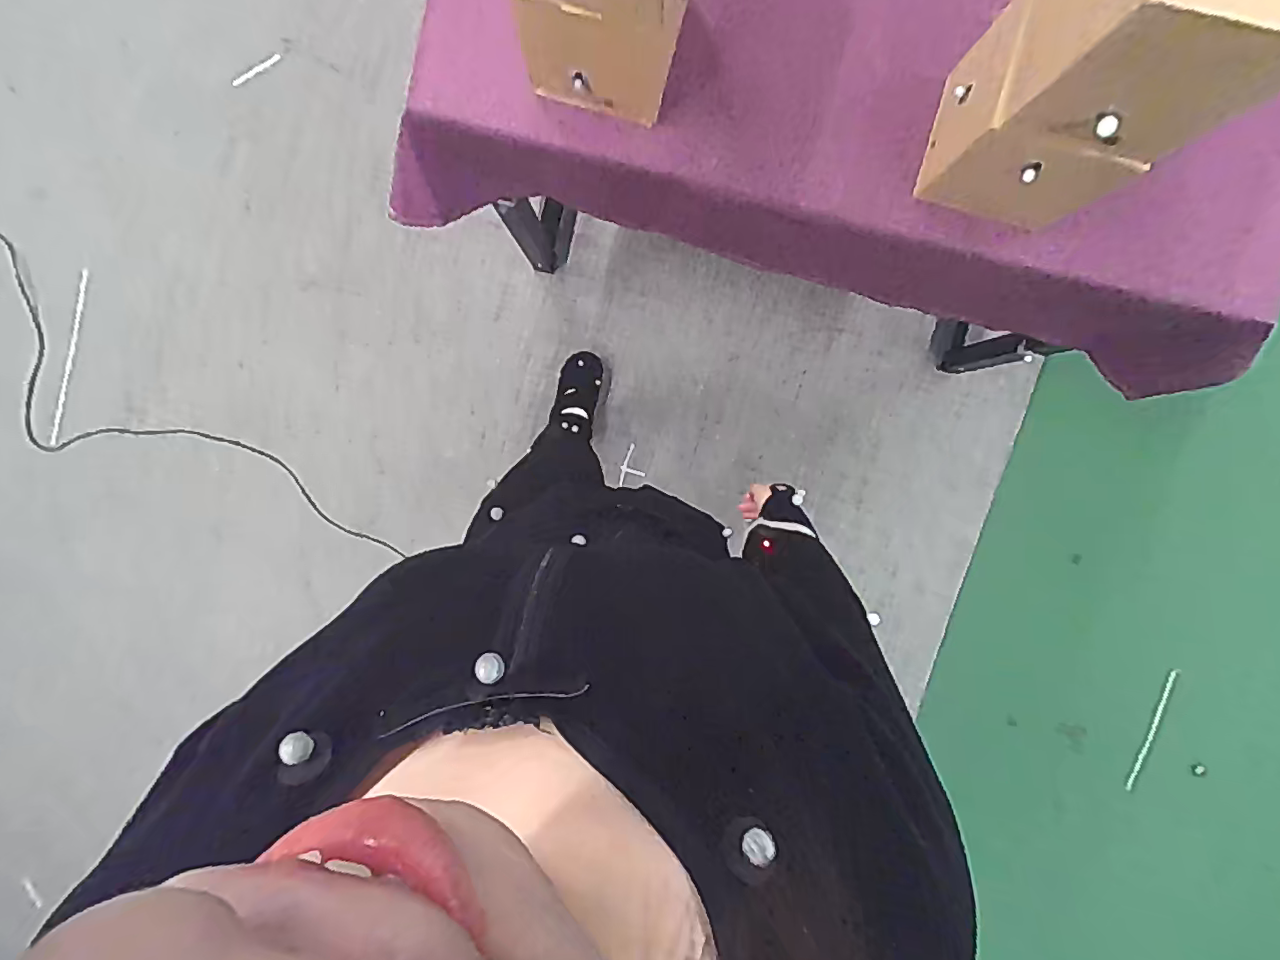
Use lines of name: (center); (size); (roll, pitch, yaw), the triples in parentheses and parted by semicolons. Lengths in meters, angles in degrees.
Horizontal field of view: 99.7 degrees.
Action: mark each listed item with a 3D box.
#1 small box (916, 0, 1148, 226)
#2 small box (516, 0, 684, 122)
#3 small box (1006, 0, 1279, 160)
small box: (0.464, -0.427, 0.637); (0.179, 0.176, 0.168); (16, 95, -1)
small box: (-0.038, -0.569, 0.628); (0.168, 0.176, 0.179); (15, 95, -1)
small box: (0.465, -0.423, 0.472); (0.168, 0.176, 0.179); (13, 95, 0)
